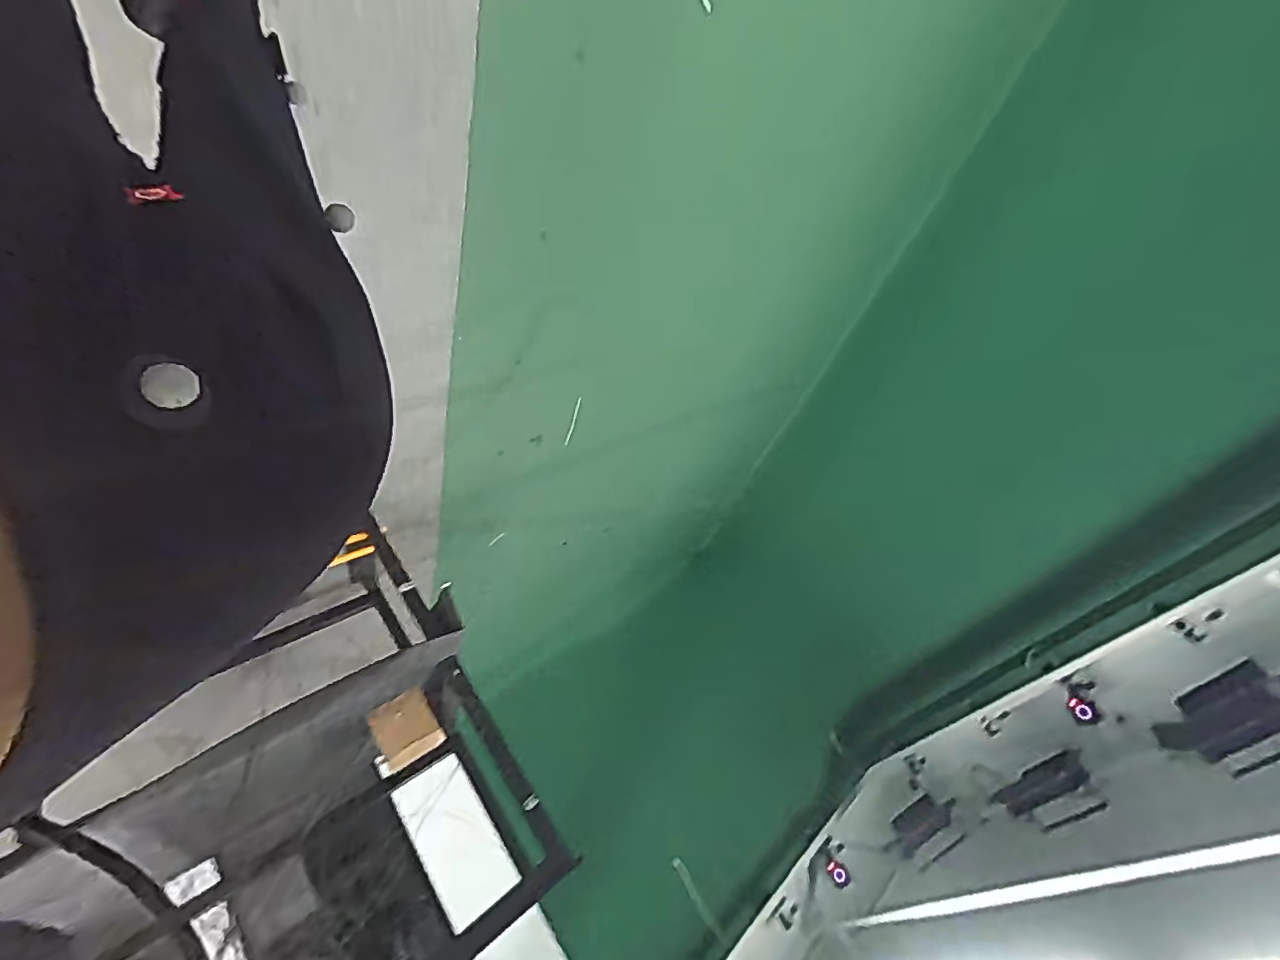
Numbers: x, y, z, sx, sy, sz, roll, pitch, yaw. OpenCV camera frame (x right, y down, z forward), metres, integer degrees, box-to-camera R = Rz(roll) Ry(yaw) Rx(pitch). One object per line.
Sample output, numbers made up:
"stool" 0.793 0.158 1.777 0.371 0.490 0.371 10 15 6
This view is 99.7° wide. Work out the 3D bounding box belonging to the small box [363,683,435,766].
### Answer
"small box" -0.793 0.800 1.781 0.168 0.176 0.179 -24 152 -36
